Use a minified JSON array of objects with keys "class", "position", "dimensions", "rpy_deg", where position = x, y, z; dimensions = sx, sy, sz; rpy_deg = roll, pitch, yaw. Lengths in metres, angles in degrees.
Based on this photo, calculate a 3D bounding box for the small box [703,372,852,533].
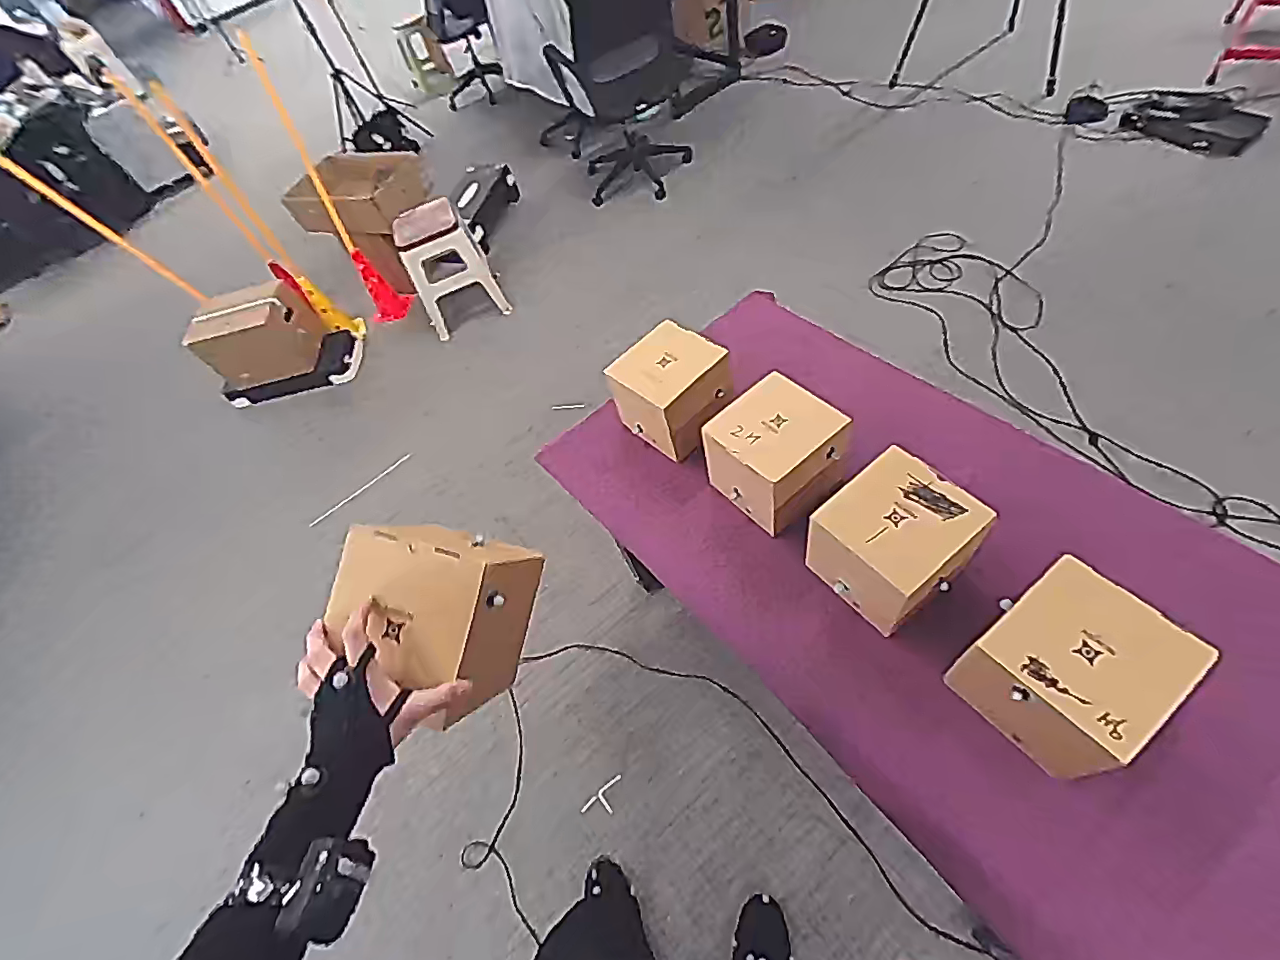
[{"class":"small box","position":[0.230,-0.045,0.928],"dimensions":[0.179,0.176,0.168],"rpy_deg":[-38,56,-12]}]

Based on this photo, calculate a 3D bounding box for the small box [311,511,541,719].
[{"class":"small box","position":[-0.234,0.144,0.633],"dimensions":[0.168,0.176,0.179],"rpy_deg":[13,86,13]}]

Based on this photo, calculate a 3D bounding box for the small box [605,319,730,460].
[{"class":"small box","position":[0.062,-0.175,1.060],"dimensions":[0.179,0.176,0.168],"rpy_deg":[-43,57,-15]}]

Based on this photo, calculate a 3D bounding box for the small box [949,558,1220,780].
[{"class":"small box","position":[0.519,0.235,0.664],"dimensions":[0.179,0.176,0.168],"rpy_deg":[-36,55,-12]}]

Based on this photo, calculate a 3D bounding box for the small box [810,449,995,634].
[{"class":"small box","position":[0.369,0.094,0.799],"dimensions":[0.179,0.176,0.168],"rpy_deg":[-37,56,-10]}]
